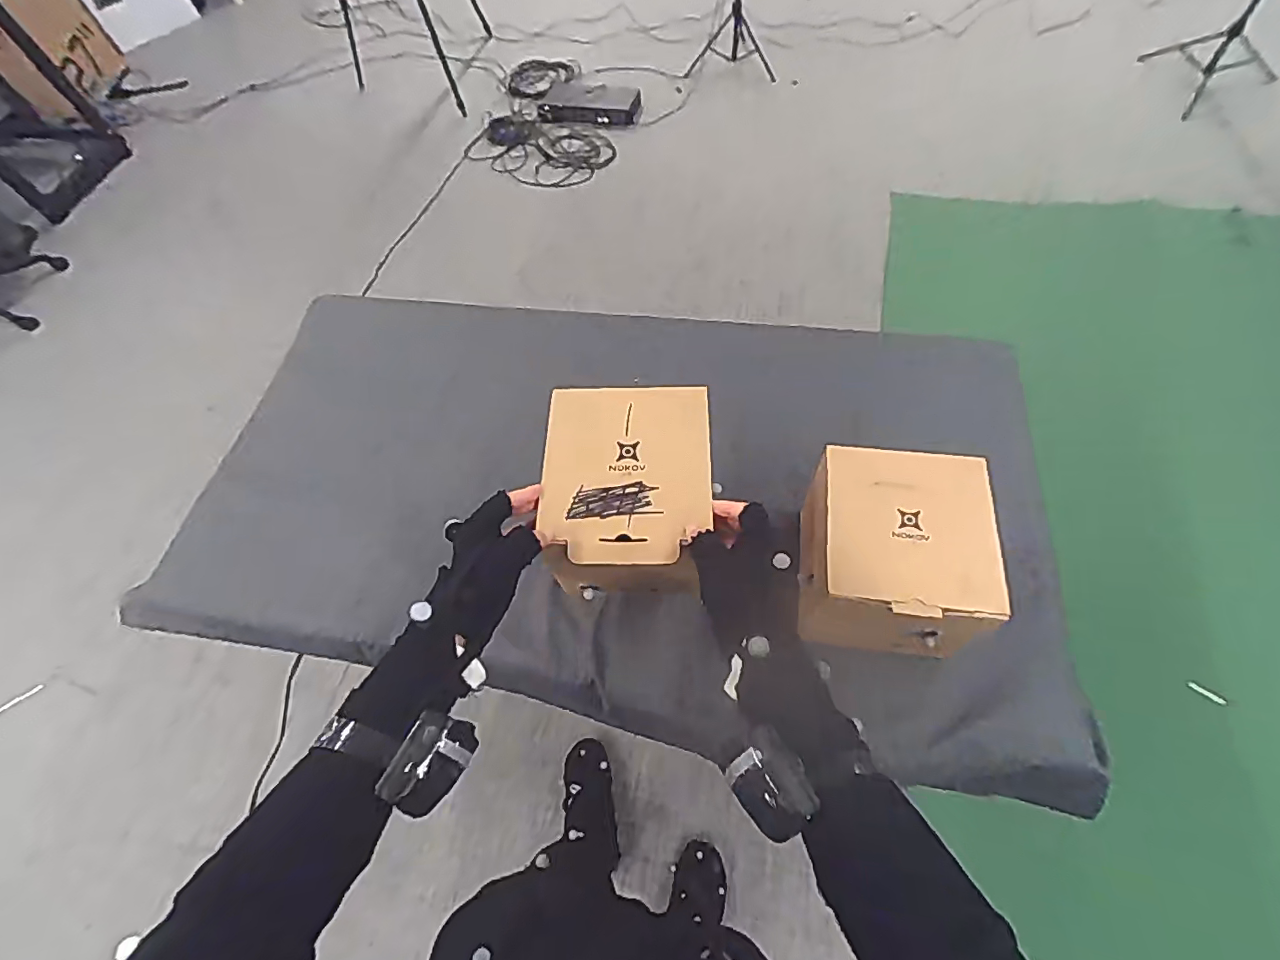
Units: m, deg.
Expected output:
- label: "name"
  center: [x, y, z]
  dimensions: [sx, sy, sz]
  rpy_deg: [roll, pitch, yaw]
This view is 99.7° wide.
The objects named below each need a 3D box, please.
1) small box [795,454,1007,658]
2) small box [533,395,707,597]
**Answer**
- label: "small box"
  center: [0.276, 0.092, 0.616]
  dimensions: [0.168, 0.176, 0.179]
  rpy_deg: [5, 59, 7]
- label: "small box"
  center: [-0.010, 0.026, 0.603]
  dimensions: [0.168, 0.176, 0.179]
  rpy_deg: [-1, 60, 4]
